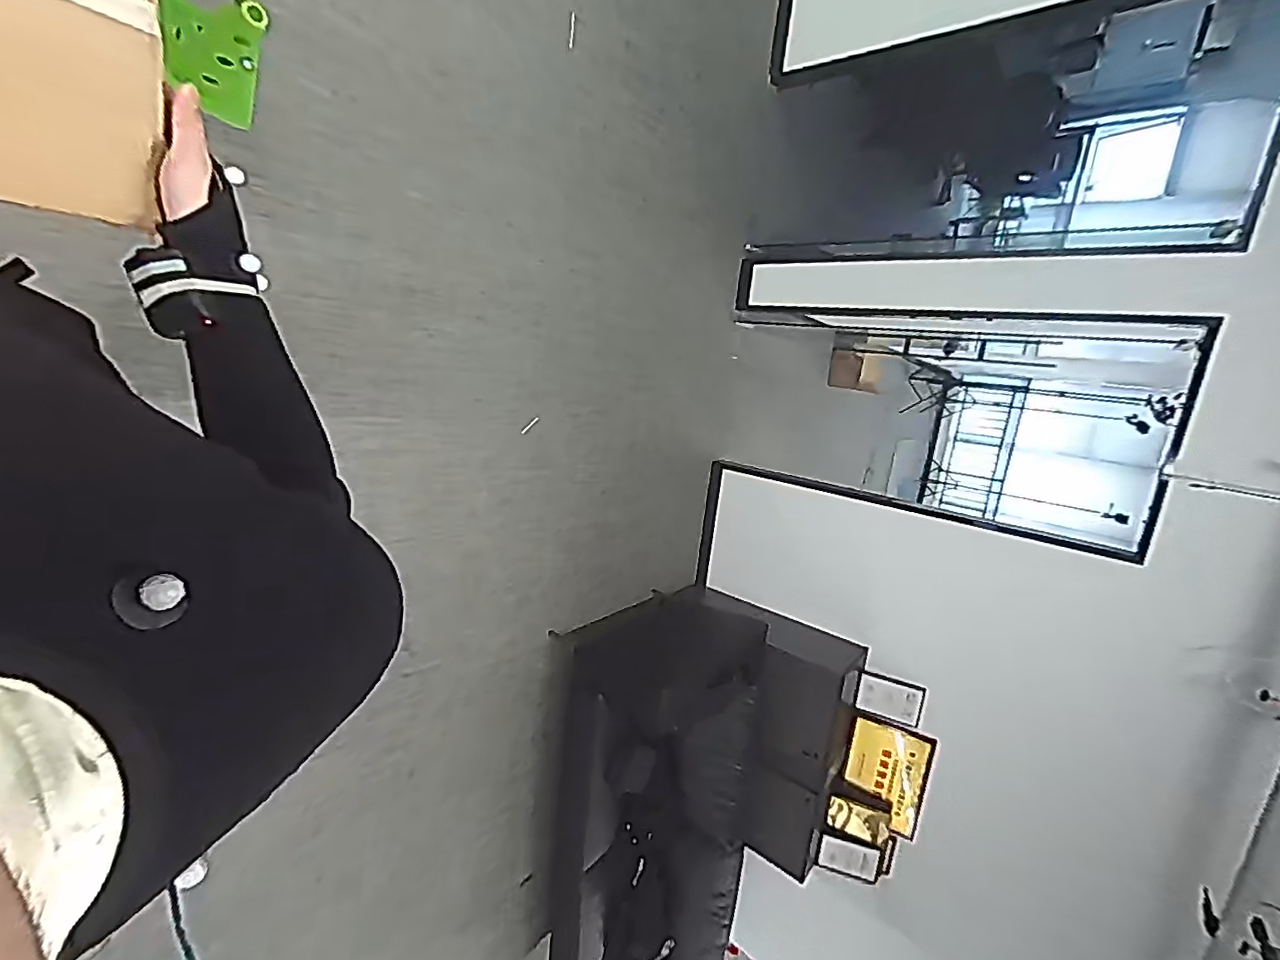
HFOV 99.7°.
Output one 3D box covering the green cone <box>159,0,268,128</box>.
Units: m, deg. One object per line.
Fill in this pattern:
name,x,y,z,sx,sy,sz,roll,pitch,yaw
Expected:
green cone,-0.843,-0.895,1.099,0.200,0.368,0.202,1,100,-53
